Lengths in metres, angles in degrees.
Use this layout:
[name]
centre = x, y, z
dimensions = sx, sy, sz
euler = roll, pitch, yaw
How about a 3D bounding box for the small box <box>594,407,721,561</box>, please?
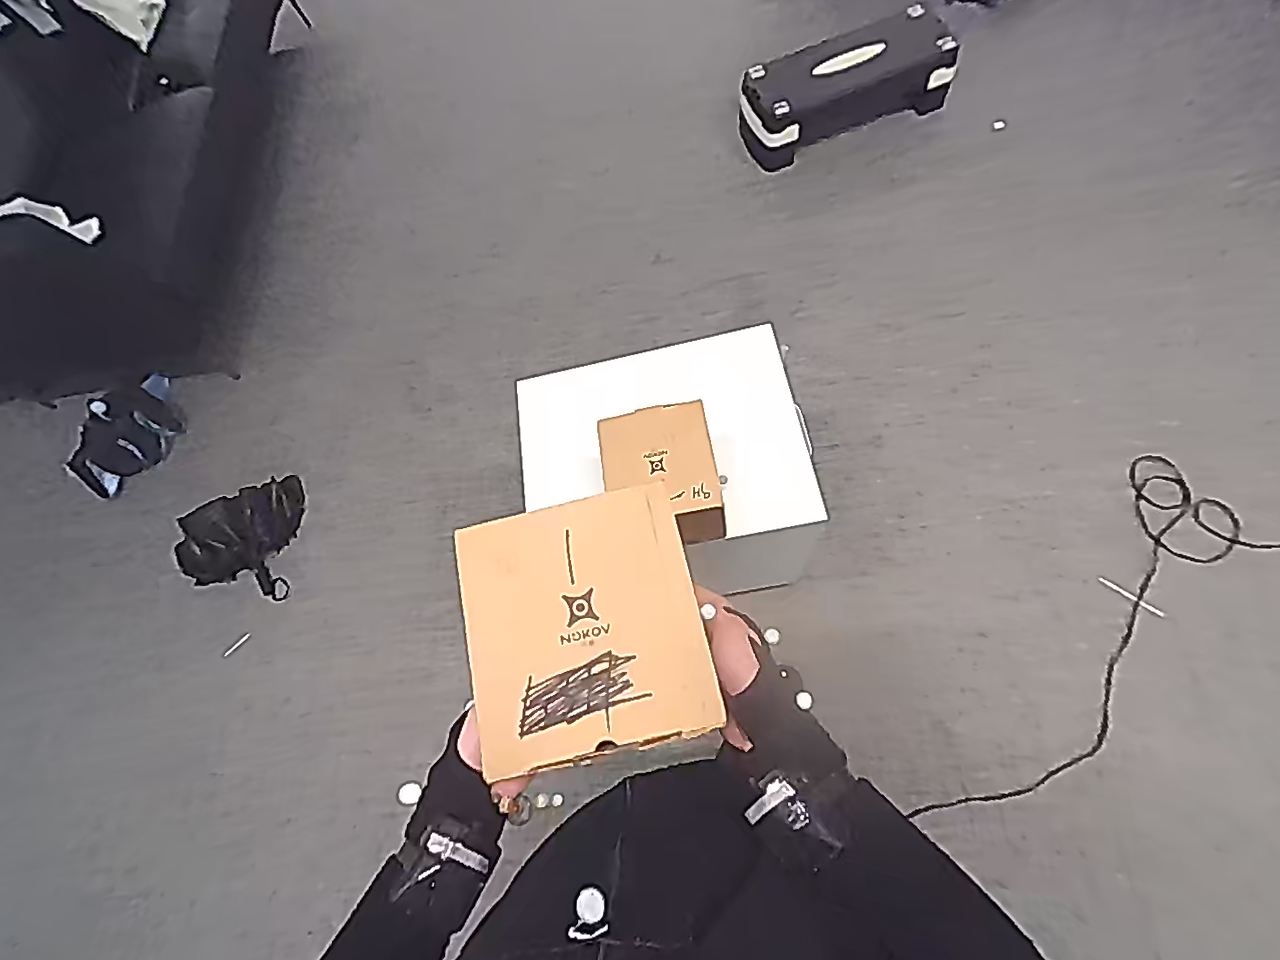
[small box]
centre = 0.031, 0.013, 0.861
dimensions = 0.168, 0.176, 0.179
euler = -12, 65, 6
